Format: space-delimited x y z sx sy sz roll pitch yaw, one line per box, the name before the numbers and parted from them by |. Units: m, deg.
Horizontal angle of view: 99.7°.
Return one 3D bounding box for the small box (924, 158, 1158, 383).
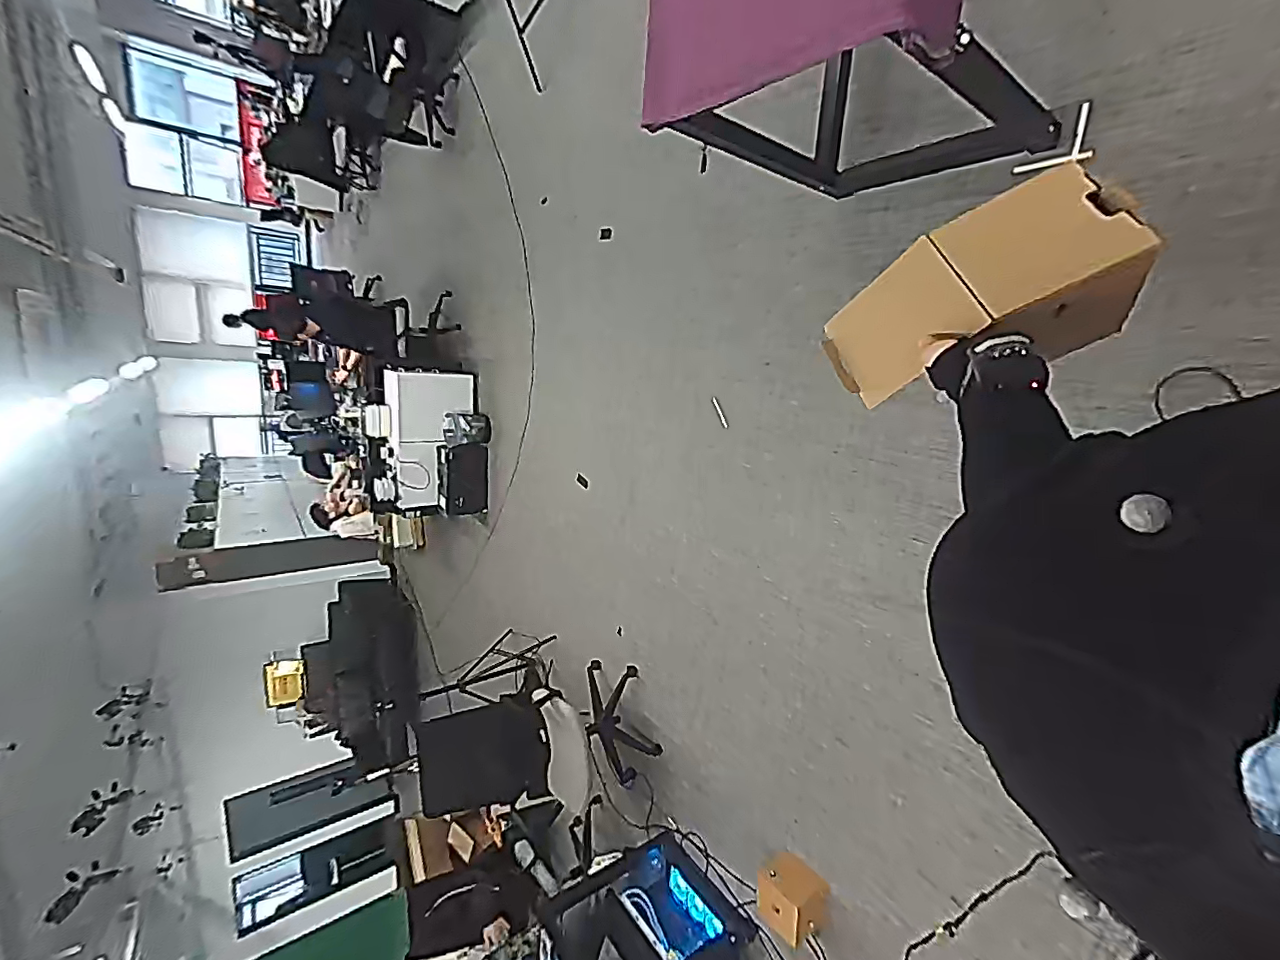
small box | 0.494 -0.256 0.699 0.179 0.176 0.168 -24 60 18
